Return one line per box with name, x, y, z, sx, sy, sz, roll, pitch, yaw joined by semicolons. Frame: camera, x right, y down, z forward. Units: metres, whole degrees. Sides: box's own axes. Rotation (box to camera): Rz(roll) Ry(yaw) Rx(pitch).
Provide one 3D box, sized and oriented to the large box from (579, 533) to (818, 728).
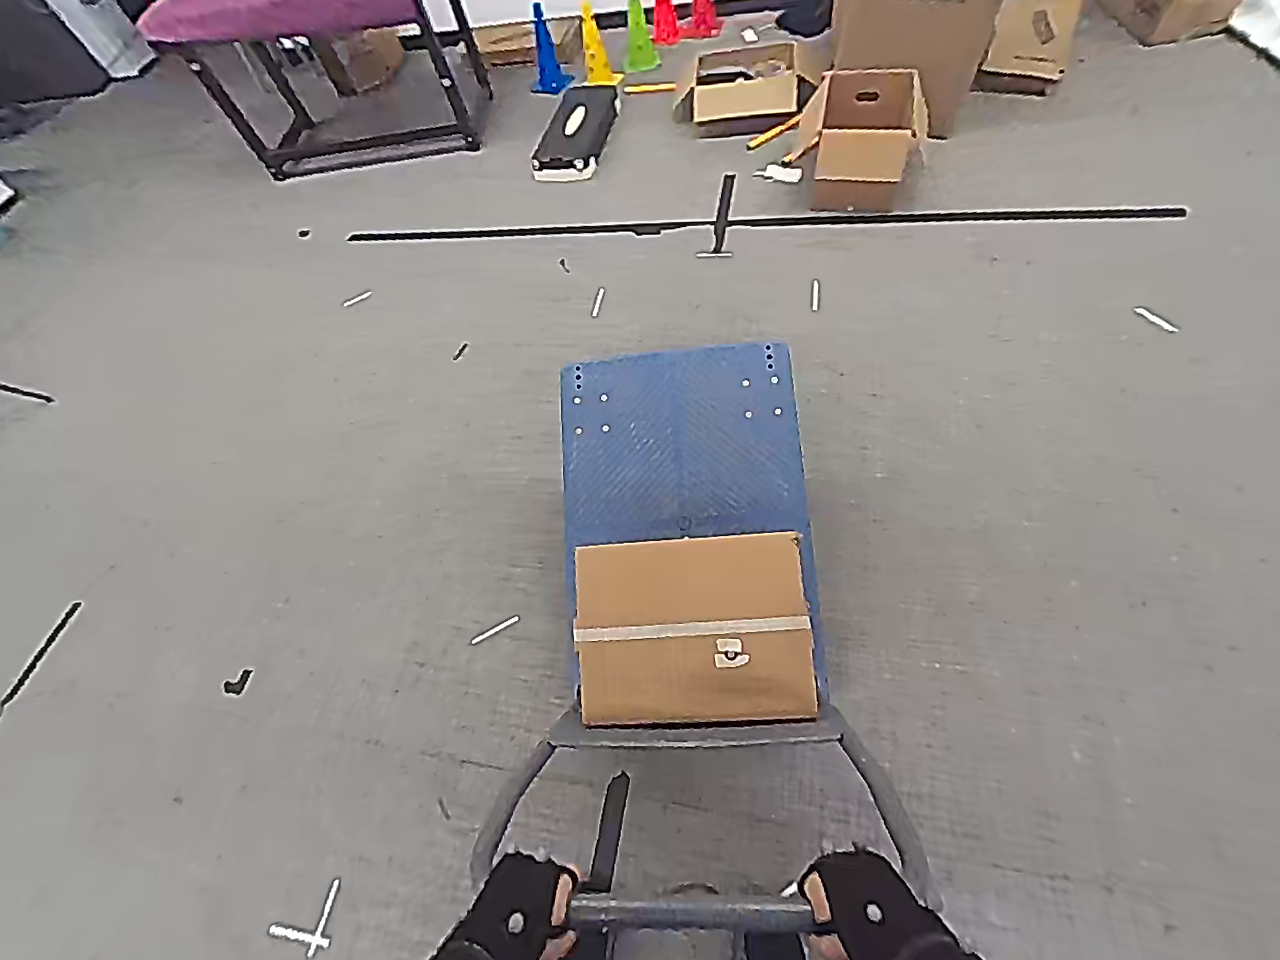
large box;0.110;0.294;1.111;0.408;0.320;0.320;-6;80;5
